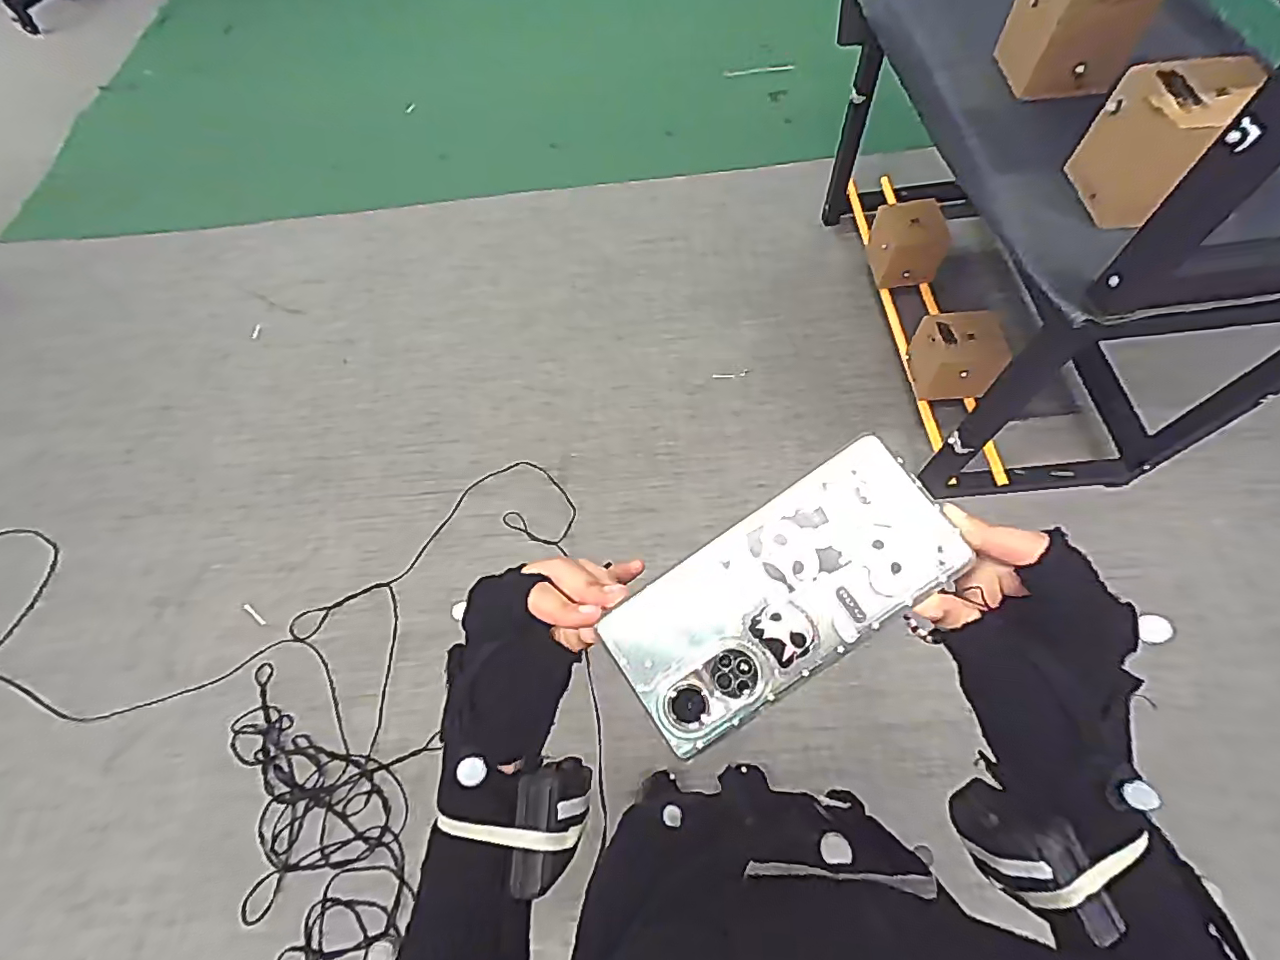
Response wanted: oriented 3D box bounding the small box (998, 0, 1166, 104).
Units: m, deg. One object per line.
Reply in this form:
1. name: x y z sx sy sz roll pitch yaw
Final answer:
1. small box: 0.826 -0.859 1.034 0.168 0.176 0.179 -2 63 5

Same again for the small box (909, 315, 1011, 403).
1. small box: 0.850 -0.322 1.462 0.179 0.176 0.168 -2 64 5
